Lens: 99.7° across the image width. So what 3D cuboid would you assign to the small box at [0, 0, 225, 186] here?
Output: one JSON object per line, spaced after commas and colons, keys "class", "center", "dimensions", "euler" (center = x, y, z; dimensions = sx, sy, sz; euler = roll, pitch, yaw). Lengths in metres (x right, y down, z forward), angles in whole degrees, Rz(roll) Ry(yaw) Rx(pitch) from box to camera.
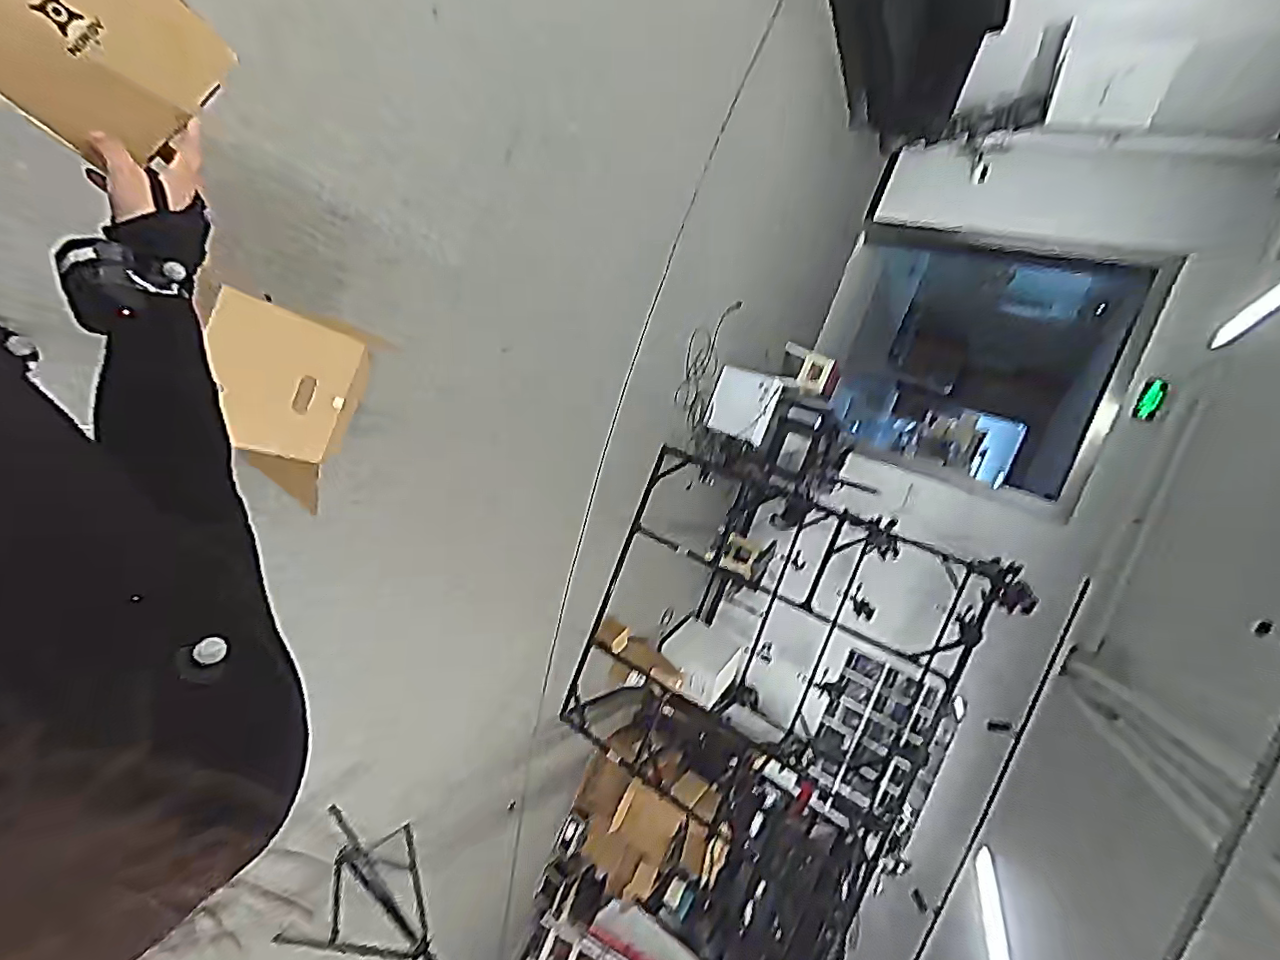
{"class": "small box", "center": [-0.535, -0.409, 0.483], "dimensions": [0.168, 0.176, 0.179], "euler": [-54, 149, -5]}
